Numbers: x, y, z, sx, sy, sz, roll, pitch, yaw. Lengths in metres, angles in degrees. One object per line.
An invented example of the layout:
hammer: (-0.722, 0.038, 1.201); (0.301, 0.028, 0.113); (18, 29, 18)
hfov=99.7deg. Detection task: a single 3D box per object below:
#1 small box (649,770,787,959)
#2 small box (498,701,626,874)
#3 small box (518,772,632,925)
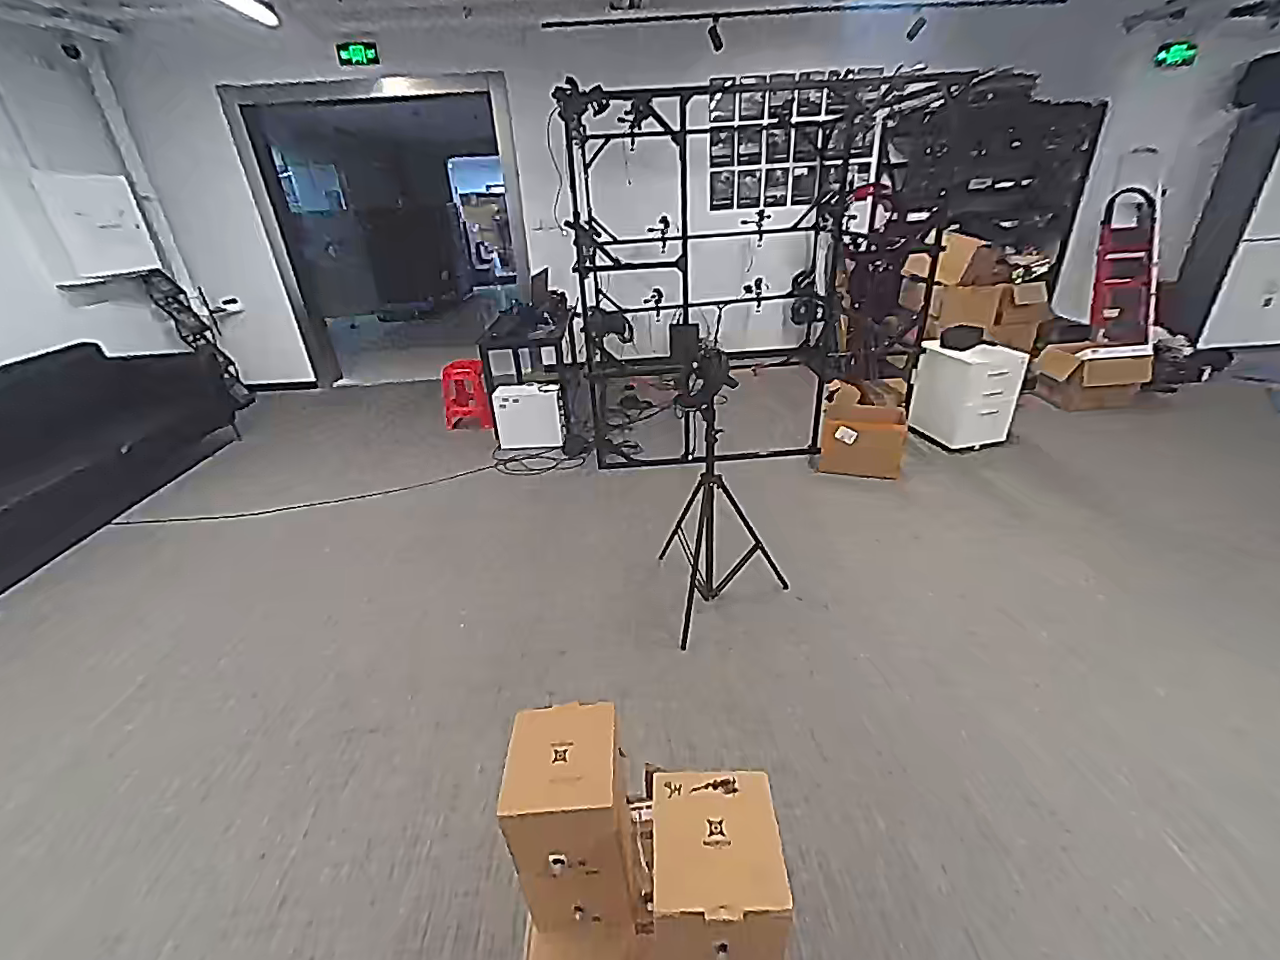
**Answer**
small box: (0.099, 0.534, 0.747); (0.168, 0.176, 0.179); (-2, 30, 2)
small box: (-0.114, 0.484, 0.860); (0.168, 0.176, 0.179); (-6, 29, 1)
small box: (-0.104, 0.626, 0.939); (0.168, 0.176, 0.179); (-5, 29, 0)
